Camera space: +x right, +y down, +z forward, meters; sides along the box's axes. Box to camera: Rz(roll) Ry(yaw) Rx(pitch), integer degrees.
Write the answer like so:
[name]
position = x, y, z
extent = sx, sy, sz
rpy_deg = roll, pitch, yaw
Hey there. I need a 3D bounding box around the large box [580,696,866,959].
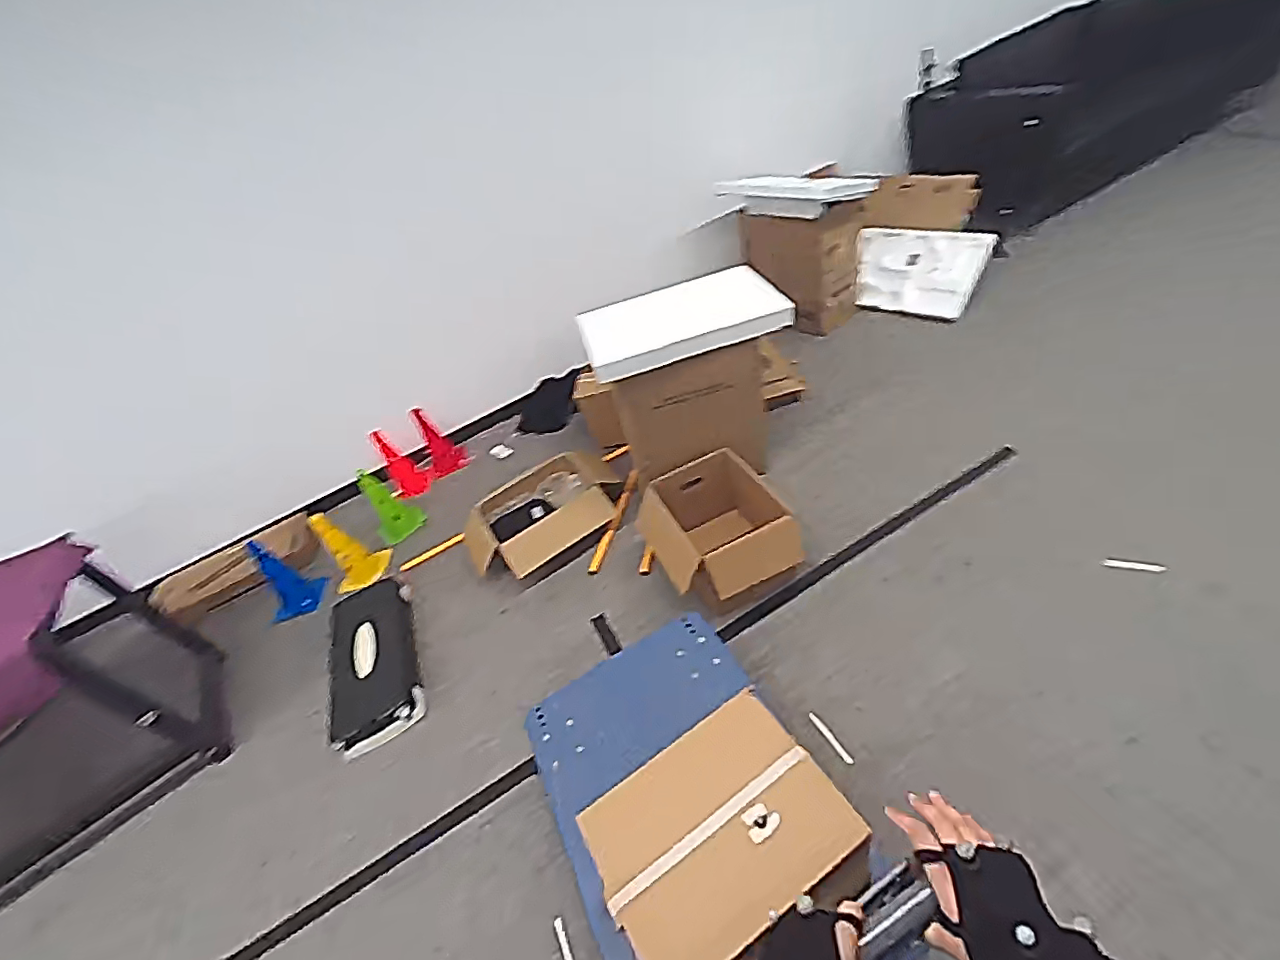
[large box]
position = 0.161, 0.709, 1.014
extent = 0.408, 0.320, 0.320
rpy_deg = -30, 41, -16
